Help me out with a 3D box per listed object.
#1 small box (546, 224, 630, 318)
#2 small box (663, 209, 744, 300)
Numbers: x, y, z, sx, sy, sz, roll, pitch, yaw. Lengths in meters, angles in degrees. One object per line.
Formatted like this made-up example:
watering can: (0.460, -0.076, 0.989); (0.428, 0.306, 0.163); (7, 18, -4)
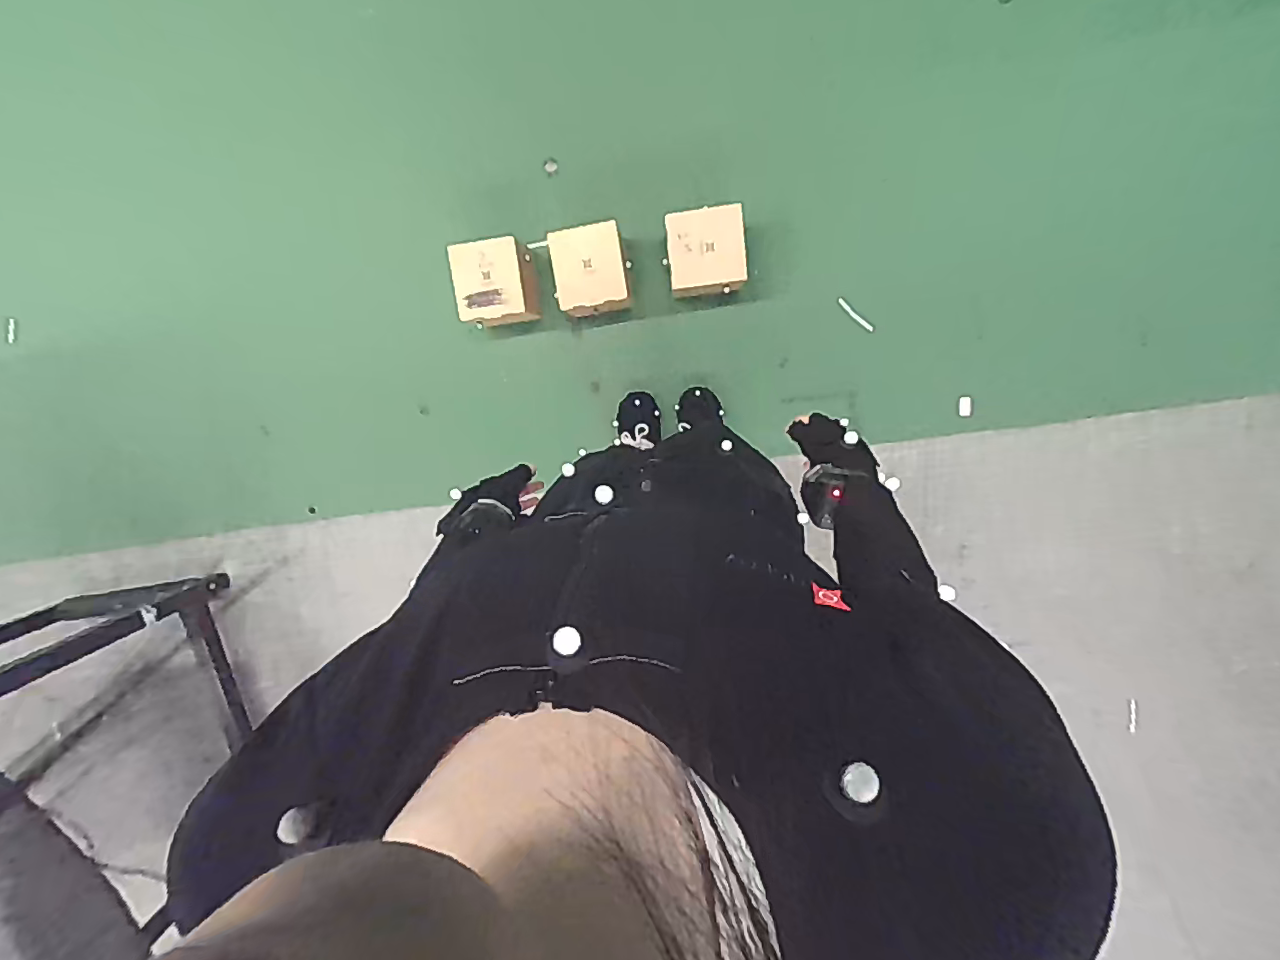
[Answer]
small box: (-0.123, -0.509, 1.338); (0.168, 0.176, 0.179); (-8, 102, 6)
small box: (0.150, -0.539, 1.310); (0.179, 0.176, 0.168); (-6, 101, 5)
